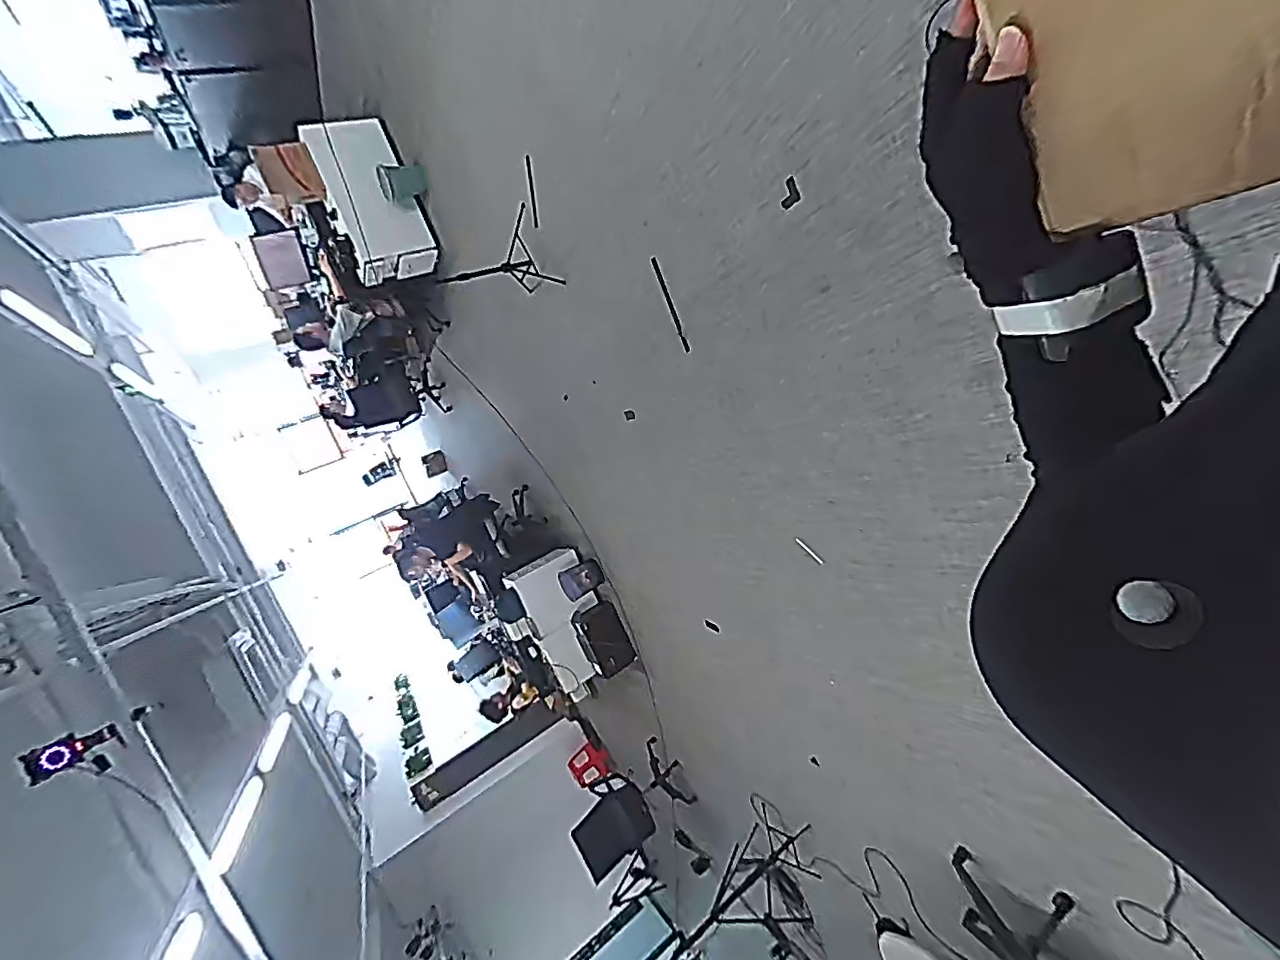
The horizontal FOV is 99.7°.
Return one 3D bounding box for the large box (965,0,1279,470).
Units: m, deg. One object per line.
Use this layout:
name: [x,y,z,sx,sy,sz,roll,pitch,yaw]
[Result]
large box: [0.388,-0.232,0.234,0.408,0.320,0.320,-7,128,38]
